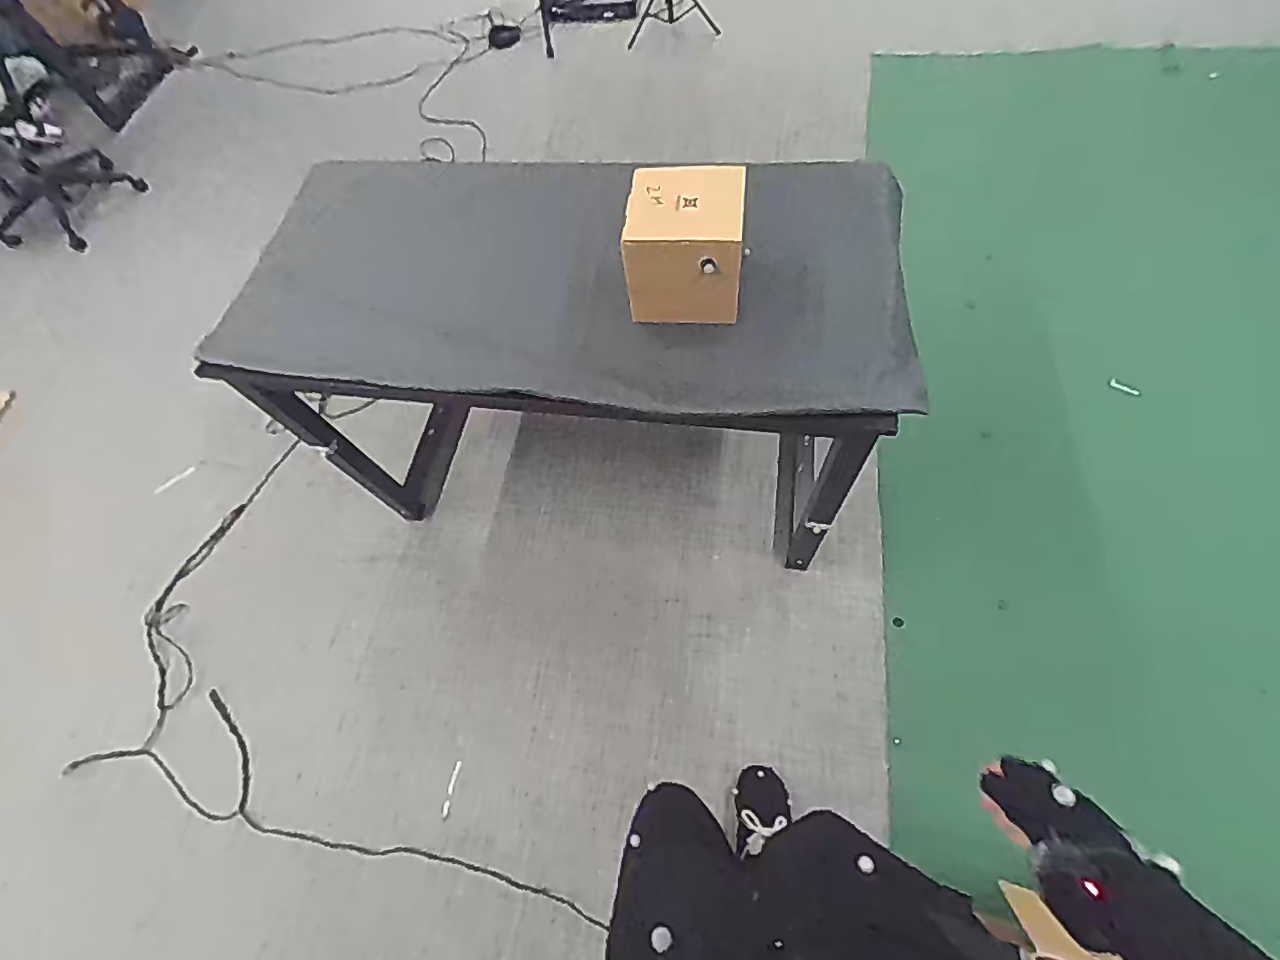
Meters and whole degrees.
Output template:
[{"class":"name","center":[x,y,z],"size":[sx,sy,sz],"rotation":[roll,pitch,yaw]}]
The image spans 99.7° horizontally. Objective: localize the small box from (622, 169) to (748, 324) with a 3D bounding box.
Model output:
[{"class":"small box","center":[0.077,-0.370,0.874],"size":[0.179,0.176,0.168],"rotation":[4,63,9]}]
